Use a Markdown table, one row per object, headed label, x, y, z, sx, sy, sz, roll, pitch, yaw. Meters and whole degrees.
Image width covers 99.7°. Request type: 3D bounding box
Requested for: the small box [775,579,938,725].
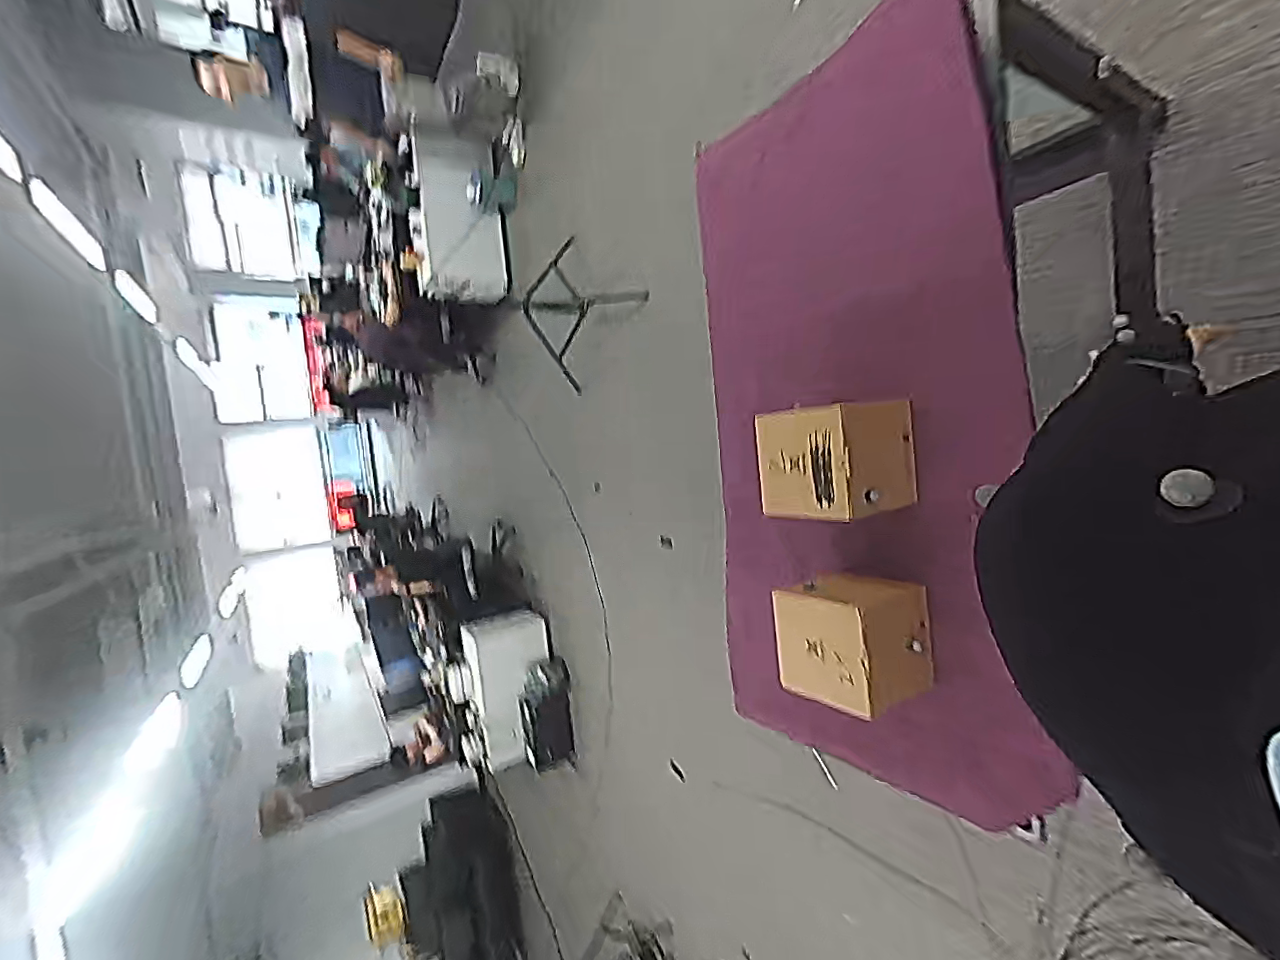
| label | x | y | z | sx | sy | sz | roll | pitch | yaw |
| --- | --- | --- | --- | --- | --- | --- | --- | --- | --- |
| small box | 0.347 | 0.262 | 0.875 | 0.179 | 0.176 | 0.168 | -4 | 92 | 58 |
